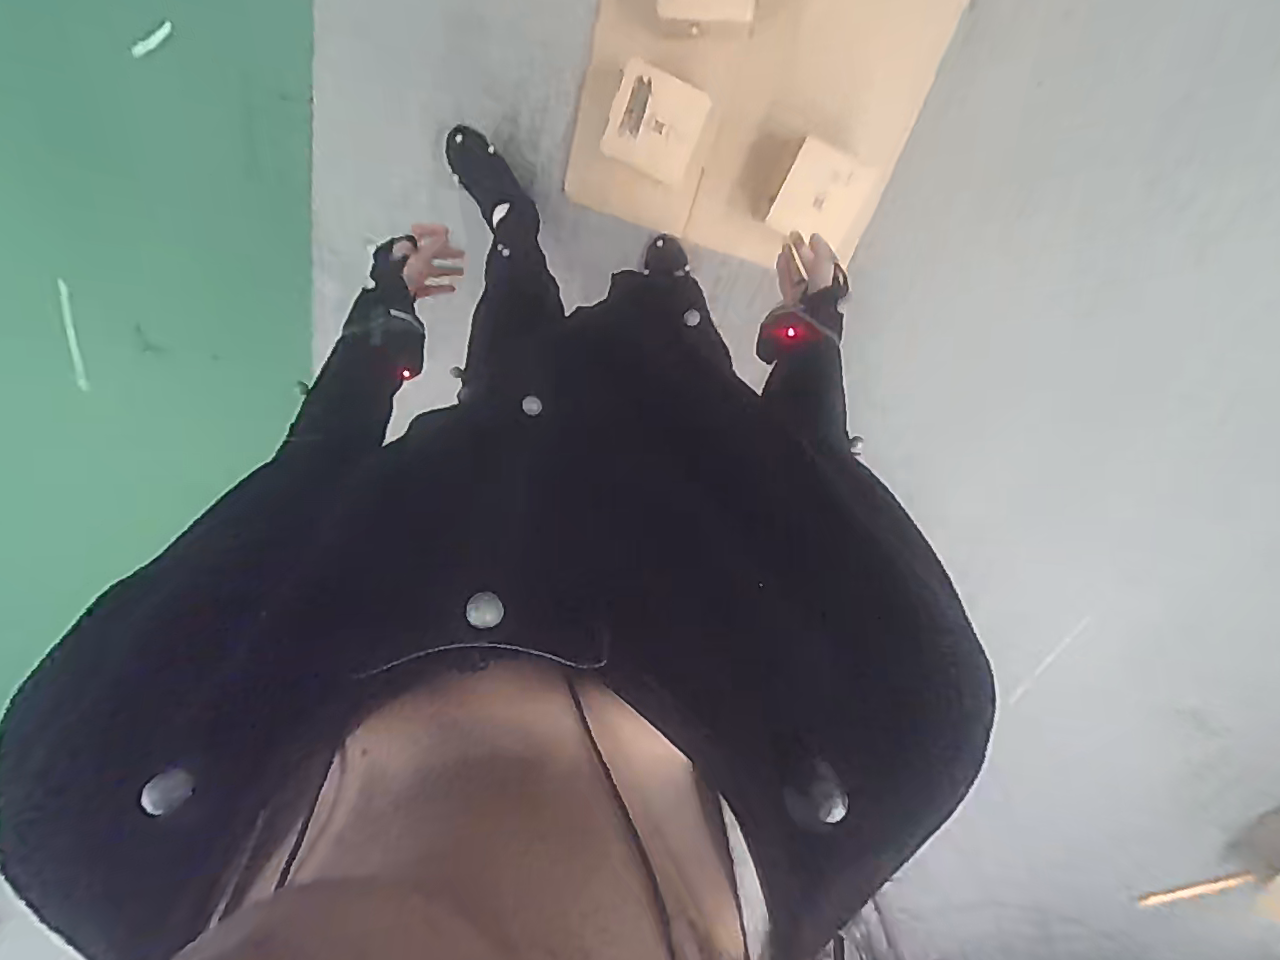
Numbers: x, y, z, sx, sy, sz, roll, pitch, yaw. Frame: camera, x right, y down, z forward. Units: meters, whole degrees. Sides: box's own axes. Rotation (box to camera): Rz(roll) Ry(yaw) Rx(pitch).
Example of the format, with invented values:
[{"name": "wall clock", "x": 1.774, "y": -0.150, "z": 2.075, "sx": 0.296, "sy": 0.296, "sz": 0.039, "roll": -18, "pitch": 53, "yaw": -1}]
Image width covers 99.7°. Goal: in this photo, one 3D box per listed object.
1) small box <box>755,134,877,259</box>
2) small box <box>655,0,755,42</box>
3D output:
[{"name": "small box", "x": 0.361, "y": -0.600, "z": 1.151, "sx": 0.168, "sy": 0.176, "sz": 0.179, "roll": 23, "pitch": 117, "yaw": -11}, {"name": "small box", "x": 0.120, "y": -0.928, "z": 0.989, "sx": 0.179, "sy": 0.176, "sz": 0.168, "roll": 3, "pitch": 119, "yaw": -1}]
